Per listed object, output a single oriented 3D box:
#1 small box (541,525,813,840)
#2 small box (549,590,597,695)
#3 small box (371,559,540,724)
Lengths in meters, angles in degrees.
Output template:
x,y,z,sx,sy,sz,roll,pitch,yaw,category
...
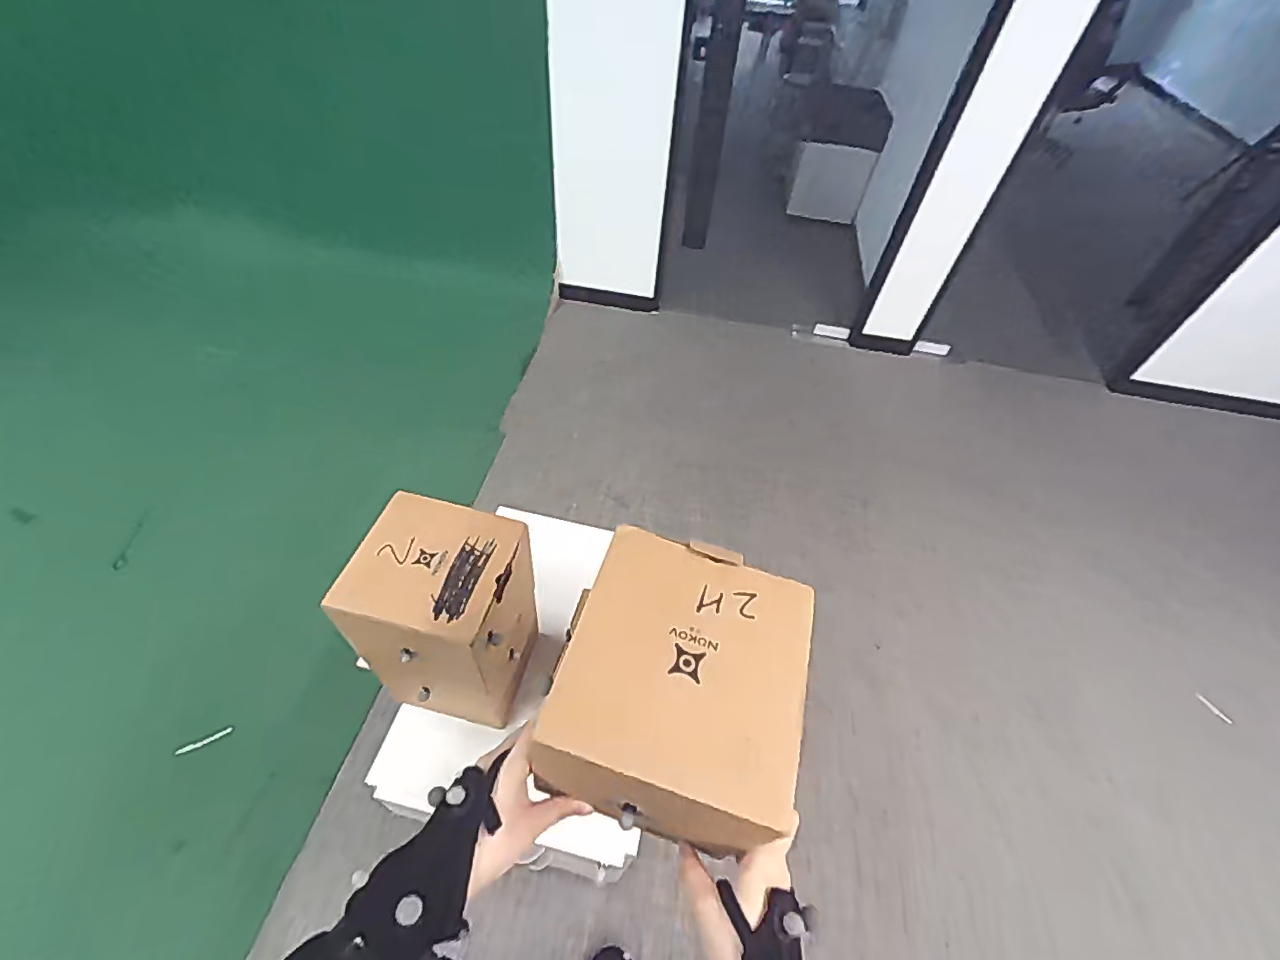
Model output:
x,y,z,sx,sy,sz,roll,pitch,yaw,category
0.028,0.173,0.452,0.168,0.176,0.179,18,50,4,small box
-0.022,0.294,0.808,0.179,0.176,0.168,14,50,6,small box
-0.263,0.249,0.819,0.179,0.176,0.168,14,51,4,small box
